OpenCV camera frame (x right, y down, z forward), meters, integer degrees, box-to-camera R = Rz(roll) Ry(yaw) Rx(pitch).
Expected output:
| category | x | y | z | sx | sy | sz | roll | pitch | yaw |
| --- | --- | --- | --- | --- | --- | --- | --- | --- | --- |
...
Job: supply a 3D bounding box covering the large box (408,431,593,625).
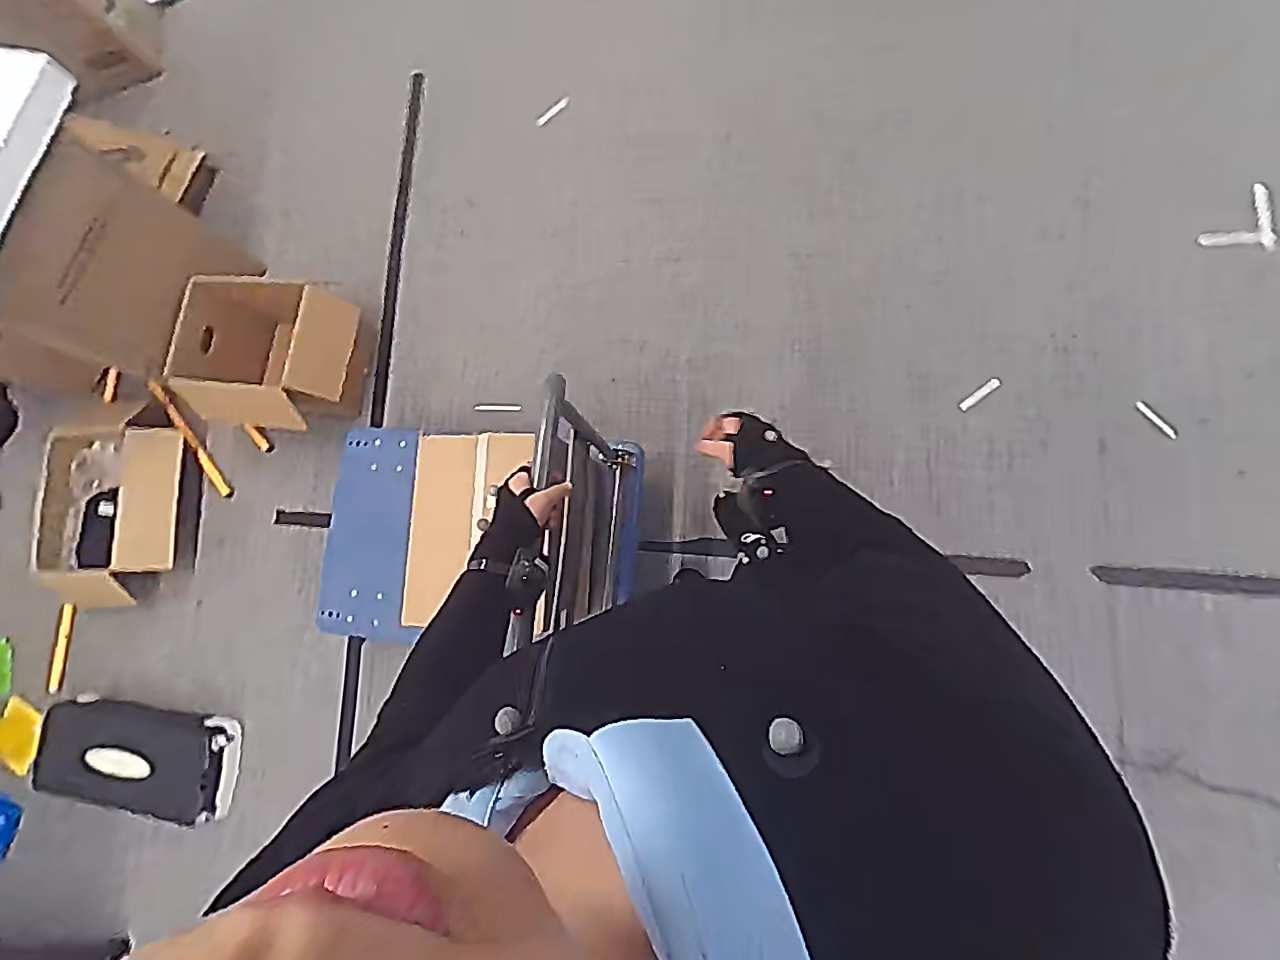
| category | x | y | z | sx | sy | sz | roll | pitch | yaw |
| --- | --- | --- | --- | --- | --- | --- | --- | --- | --- |
| large box | -0.302 | 0.120 | 1.270 | 0.320 | 0.320 | 0.408 | 0 | 81 | 10 |
